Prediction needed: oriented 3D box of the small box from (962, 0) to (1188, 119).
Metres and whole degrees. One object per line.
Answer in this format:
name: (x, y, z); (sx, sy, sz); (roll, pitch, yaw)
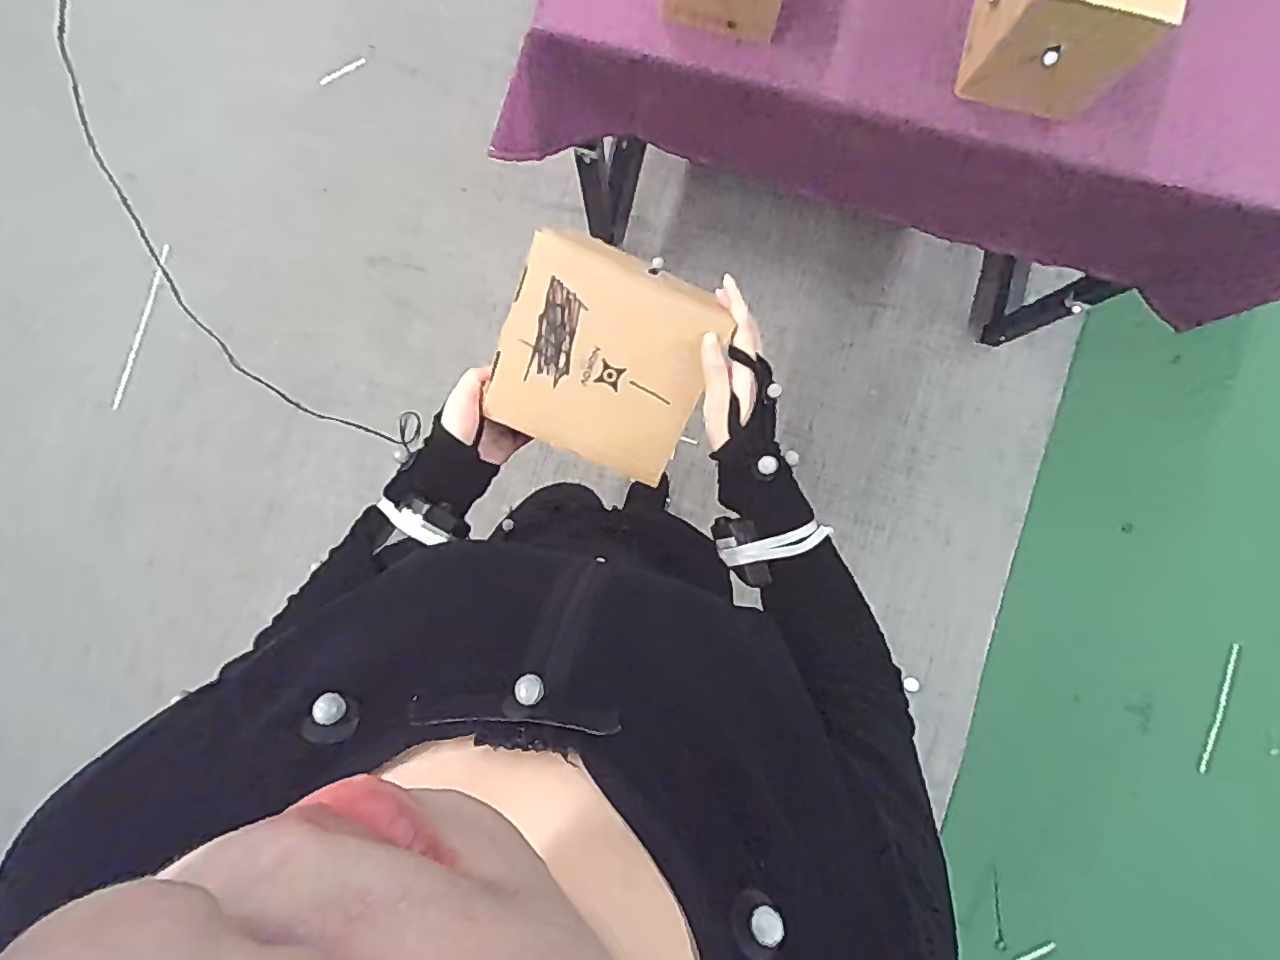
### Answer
small box: (0.565, -0.619, 0.712); (0.179, 0.176, 0.168); (13, 88, 1)

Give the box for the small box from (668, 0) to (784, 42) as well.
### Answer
small box: (0.135, -0.739, 0.715); (0.168, 0.176, 0.179); (15, 88, 0)
